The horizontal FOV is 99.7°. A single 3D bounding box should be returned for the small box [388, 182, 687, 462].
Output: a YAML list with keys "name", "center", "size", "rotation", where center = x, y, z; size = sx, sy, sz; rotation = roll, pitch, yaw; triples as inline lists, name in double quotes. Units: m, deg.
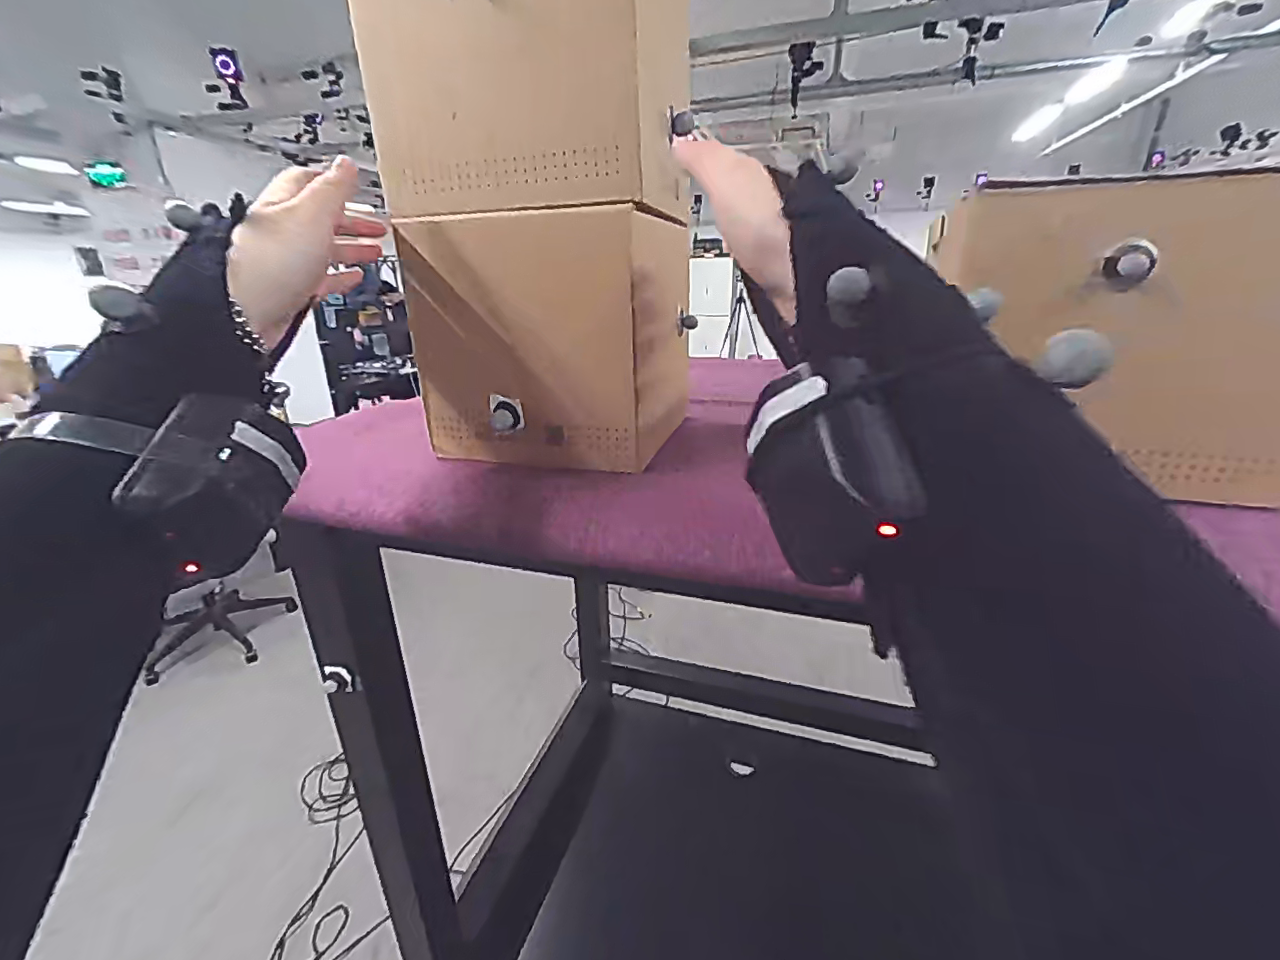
- name: "small box"
  center: [-0.062, -0.123, 0.426]
  size: [0.168, 0.176, 0.179]
  rotation: [4, 21, 16]

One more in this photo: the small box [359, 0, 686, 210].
- name: "small box"
  center: [-0.068, -0.277, 0.371]
  size: [0.179, 0.176, 0.168]
  rotation: [3, 22, 14]
